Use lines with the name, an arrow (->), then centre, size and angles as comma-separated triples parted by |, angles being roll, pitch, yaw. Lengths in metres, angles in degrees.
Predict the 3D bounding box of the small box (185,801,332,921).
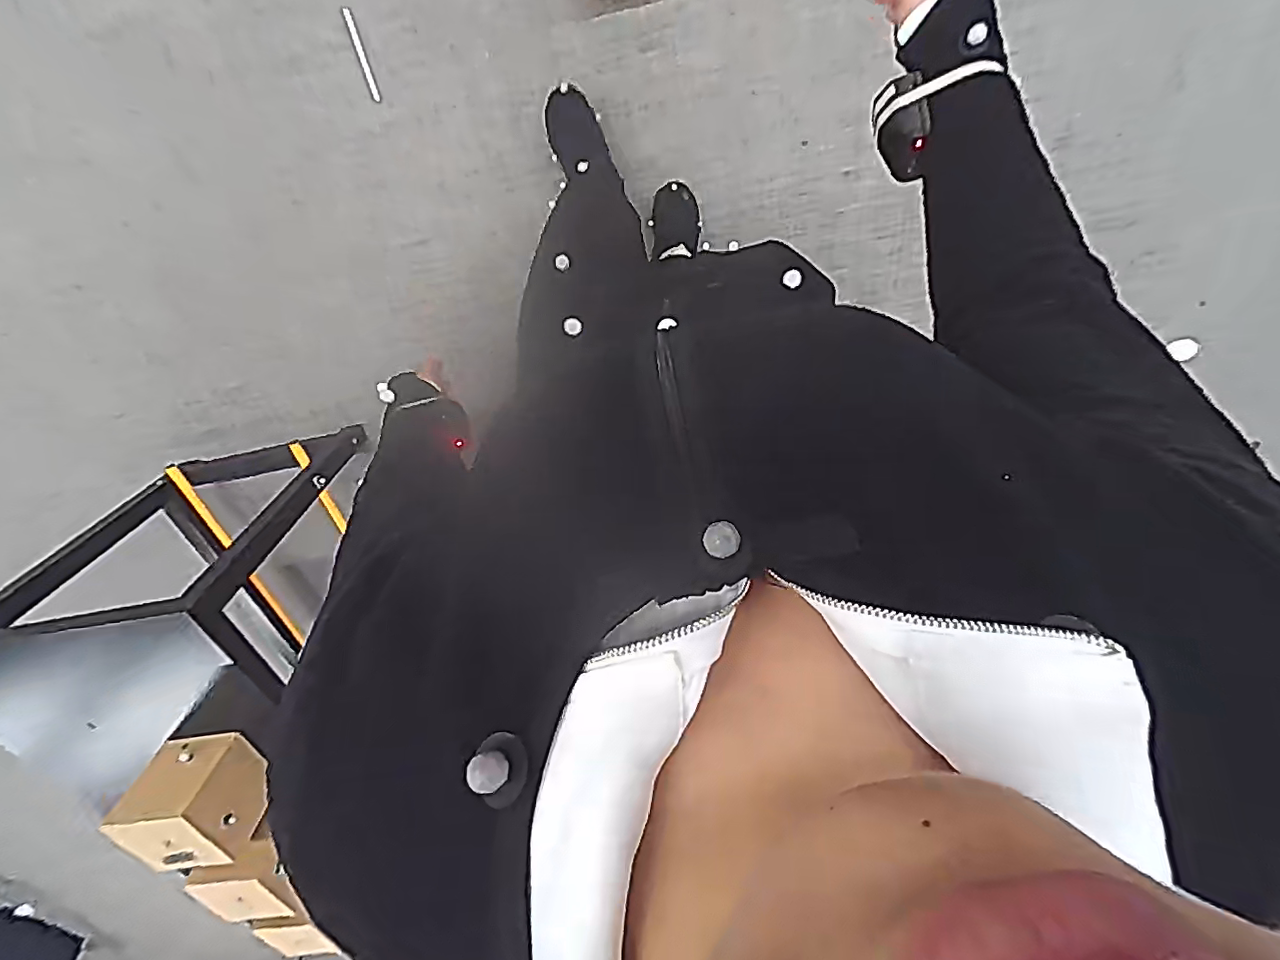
small box -> -0.830, 0.835, 1.199 | 0.168, 0.176, 0.179 | -9, 122, 5

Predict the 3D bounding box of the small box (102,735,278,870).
small box -> -0.869, 0.635, 1.070 | 0.168, 0.176, 0.179 | -9, 122, 4

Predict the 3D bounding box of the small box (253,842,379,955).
small box -> -0.775, 1.014, 1.315 | 0.179, 0.176, 0.168 | -11, 123, 4
